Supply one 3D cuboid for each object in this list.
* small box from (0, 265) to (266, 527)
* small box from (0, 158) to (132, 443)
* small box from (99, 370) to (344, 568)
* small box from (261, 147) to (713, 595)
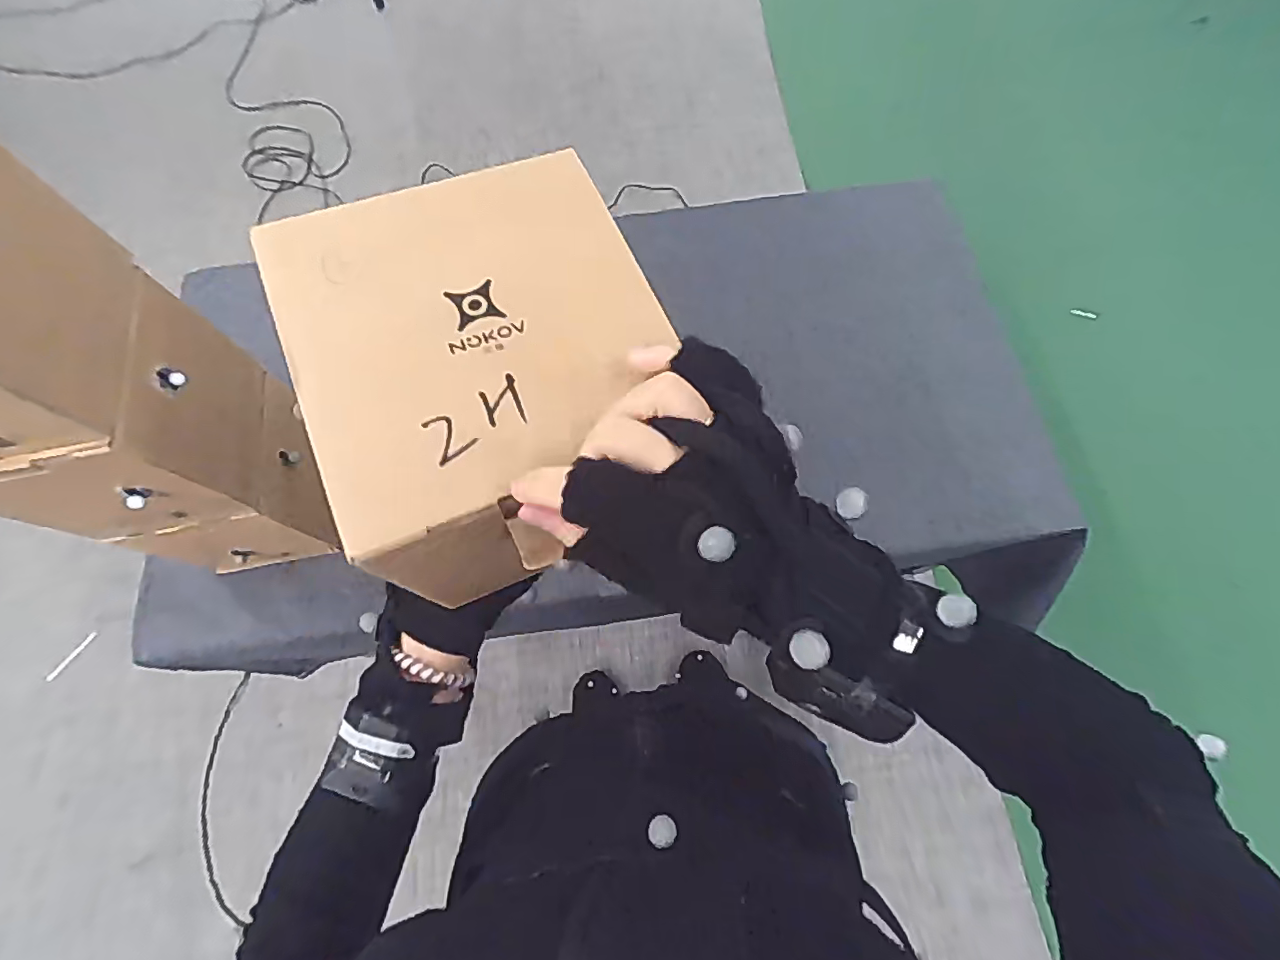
[{"bbox_3d":[-0.484,-0.063,0.502,0.168,0.176,0.179,-10,70,-3],"label":"small box"},{"bbox_3d":[-0.489,-0.125,0.351,0.168,0.176,0.179,-11,70,-4],"label":"small box"},{"bbox_3d":[-0.482,-0.005,0.655,0.168,0.176,0.179,-11,71,-3],"label":"small box"},{"bbox_3d":[-0.080,-0.050,0.325,0.168,0.176,0.179,-21,73,-12],"label":"small box"}]
